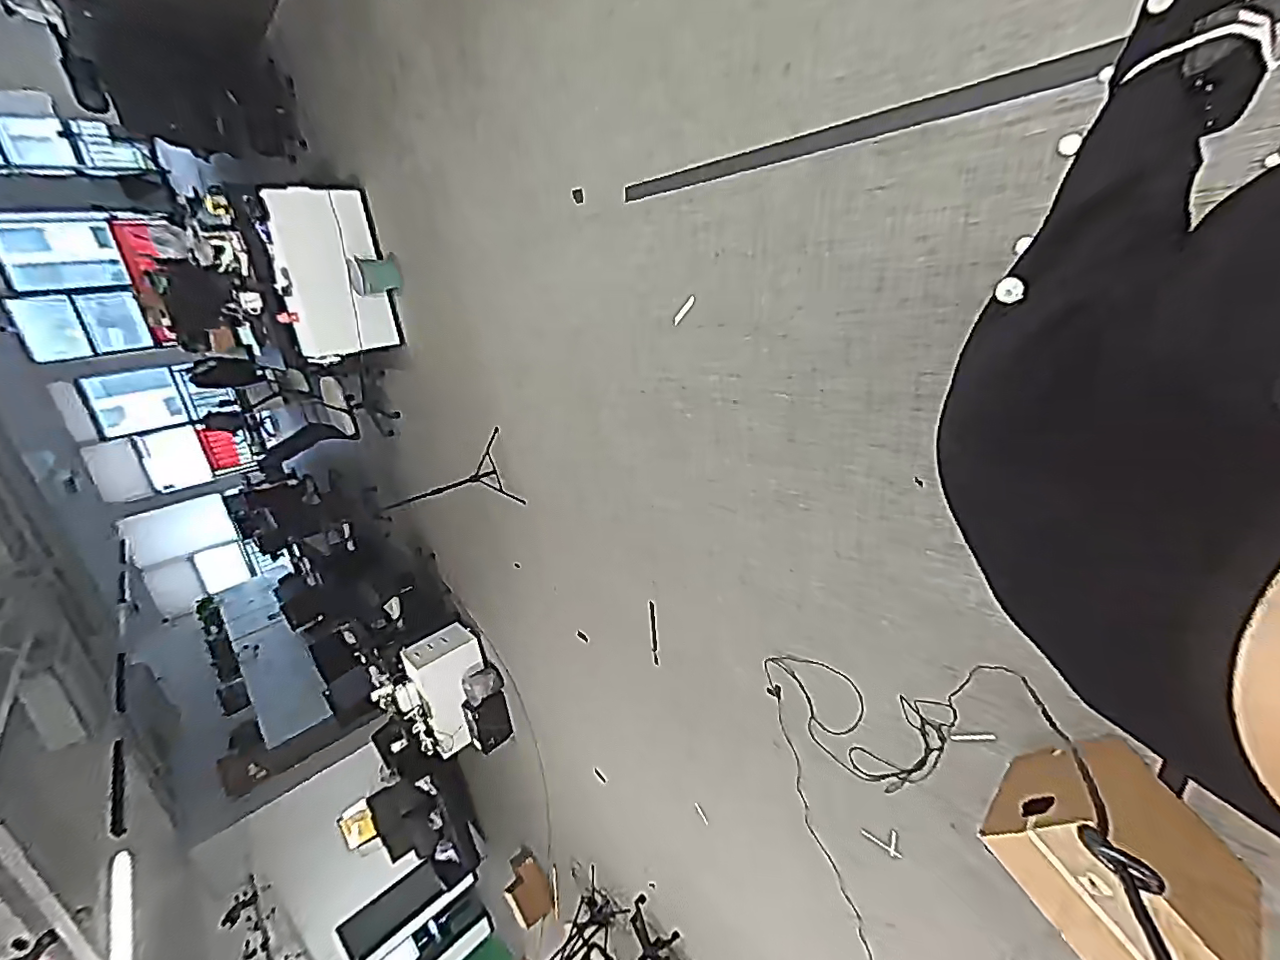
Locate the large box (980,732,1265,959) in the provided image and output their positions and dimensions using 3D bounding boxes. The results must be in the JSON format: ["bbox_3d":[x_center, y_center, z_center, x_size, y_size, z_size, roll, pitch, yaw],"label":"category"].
[{"bbox_3d":[1.161,0.913,1.322,0.408,0.320,0.320,52,140,19],"label":"large box"}]
